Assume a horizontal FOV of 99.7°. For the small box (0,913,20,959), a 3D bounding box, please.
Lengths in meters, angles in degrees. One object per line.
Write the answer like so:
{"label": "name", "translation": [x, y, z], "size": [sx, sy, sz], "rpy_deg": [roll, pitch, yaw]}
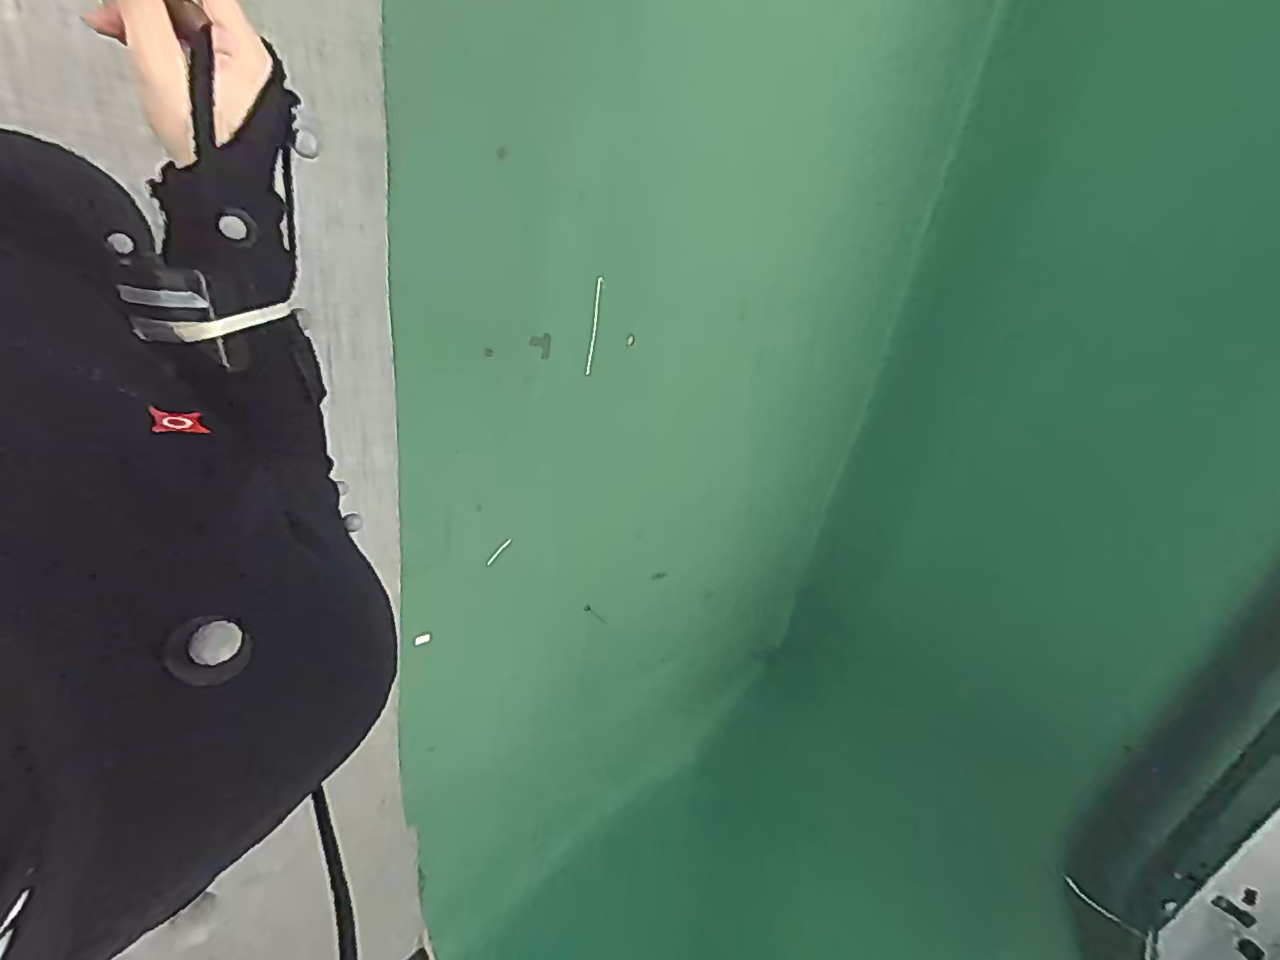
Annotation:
{"label": "small box", "translation": [-1.133, 0.867, 0.866], "size": [0.179, 0.176, 0.168], "rpy_deg": [-7, 120, -48]}
